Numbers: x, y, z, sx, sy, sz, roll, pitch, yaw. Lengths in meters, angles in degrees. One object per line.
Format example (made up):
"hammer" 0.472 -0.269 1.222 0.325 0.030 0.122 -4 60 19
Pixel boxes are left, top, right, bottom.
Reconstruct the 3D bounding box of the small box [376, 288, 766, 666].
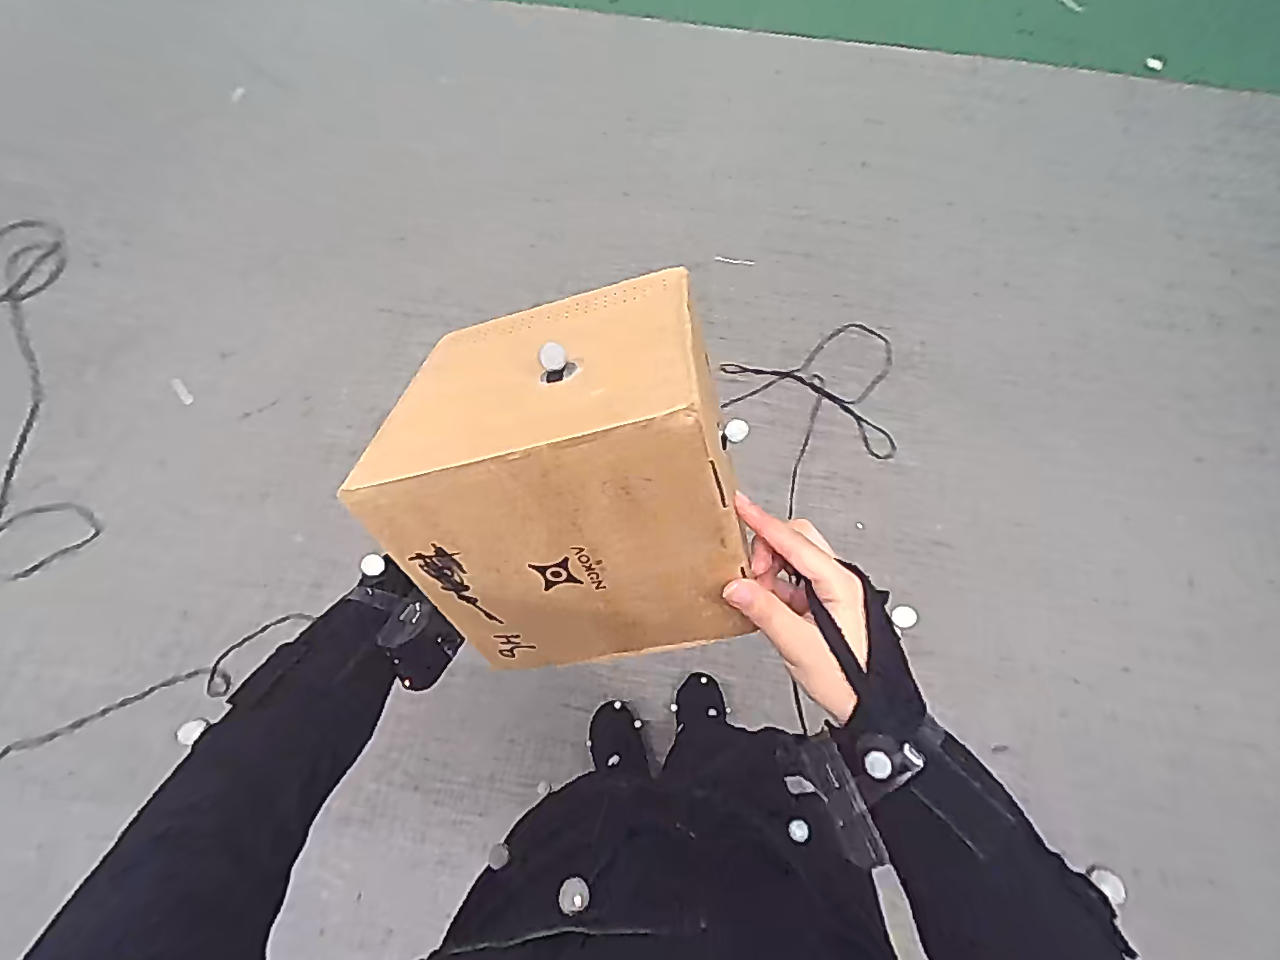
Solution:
"small box" -0.026 -0.005 0.358 0.179 0.168 0.176 -12 38 11
